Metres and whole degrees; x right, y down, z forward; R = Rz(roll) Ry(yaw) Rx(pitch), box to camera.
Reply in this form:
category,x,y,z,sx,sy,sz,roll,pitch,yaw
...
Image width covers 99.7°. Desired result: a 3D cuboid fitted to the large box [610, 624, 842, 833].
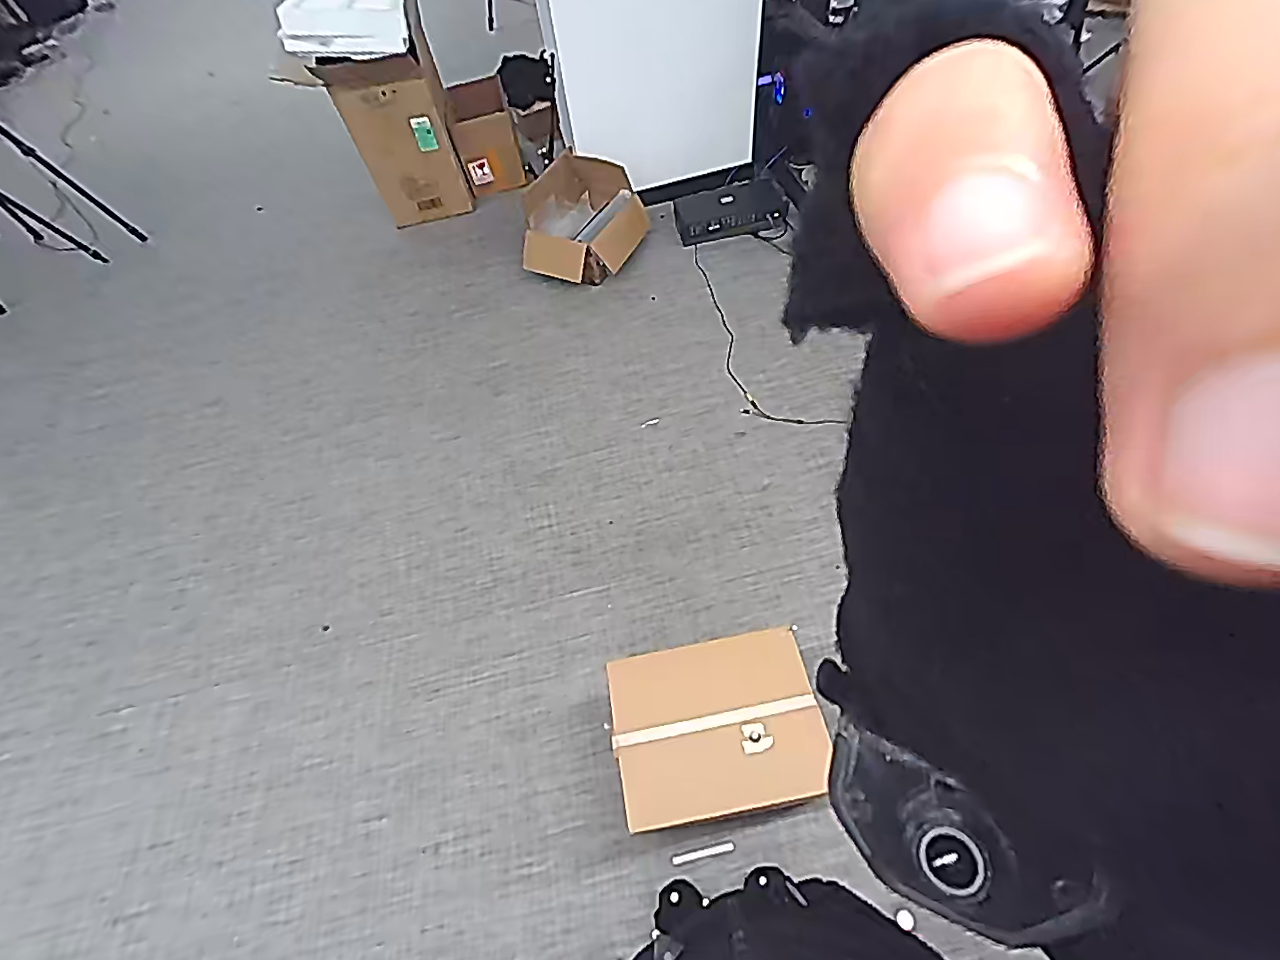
category,x,y,z,sx,sy,sz,roll,pitch,yaw
large box,0.169,0.558,1.198,0.408,0.320,0.320,-11,56,-1
